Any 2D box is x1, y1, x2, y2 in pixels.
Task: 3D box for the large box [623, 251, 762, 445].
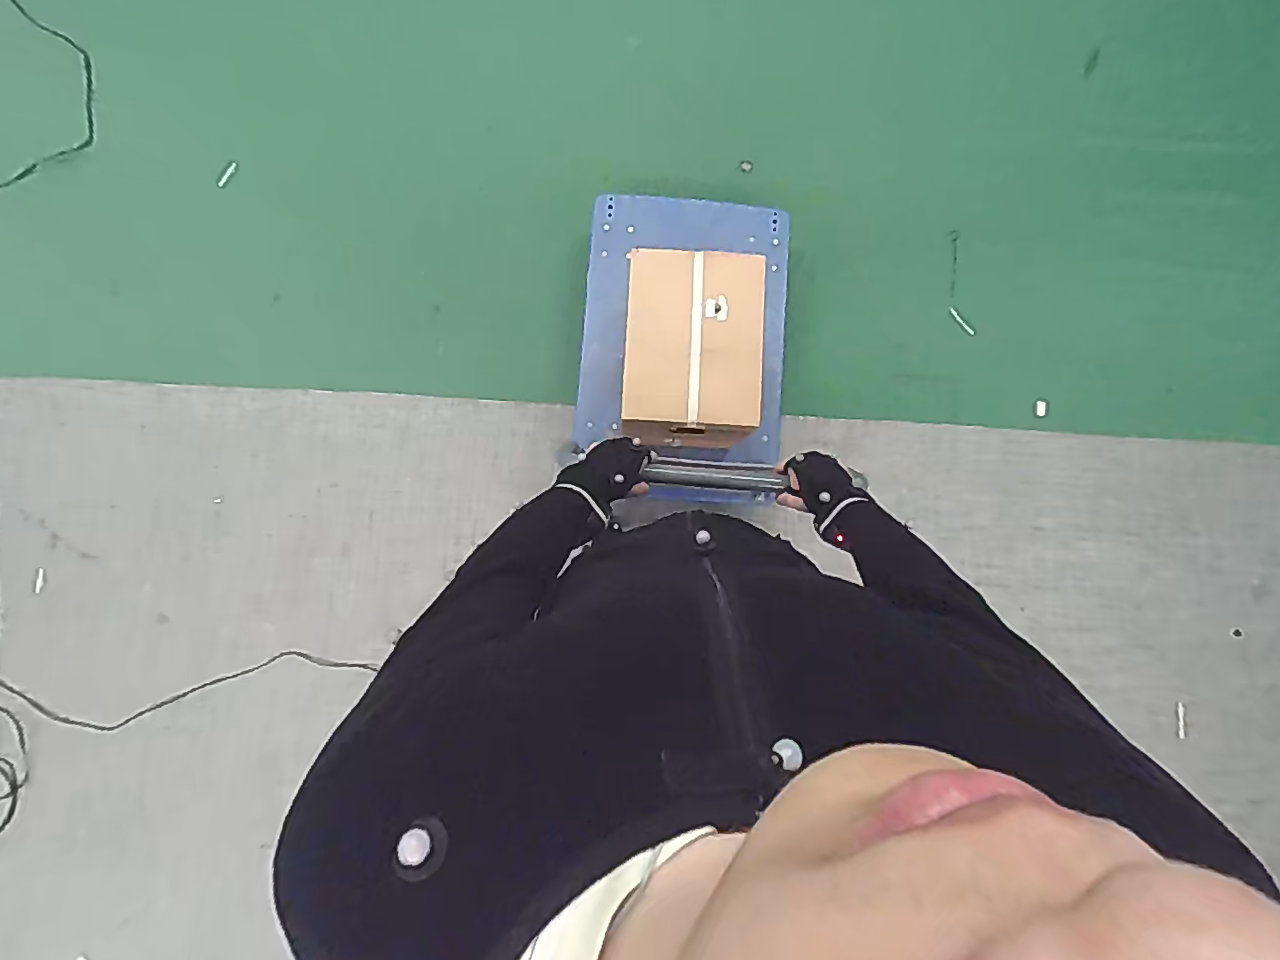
[{"bbox_3d":[0.121,-0.312,1.380,0.320,0.320,0.408,3,84,-1],"label":"large box"}]
